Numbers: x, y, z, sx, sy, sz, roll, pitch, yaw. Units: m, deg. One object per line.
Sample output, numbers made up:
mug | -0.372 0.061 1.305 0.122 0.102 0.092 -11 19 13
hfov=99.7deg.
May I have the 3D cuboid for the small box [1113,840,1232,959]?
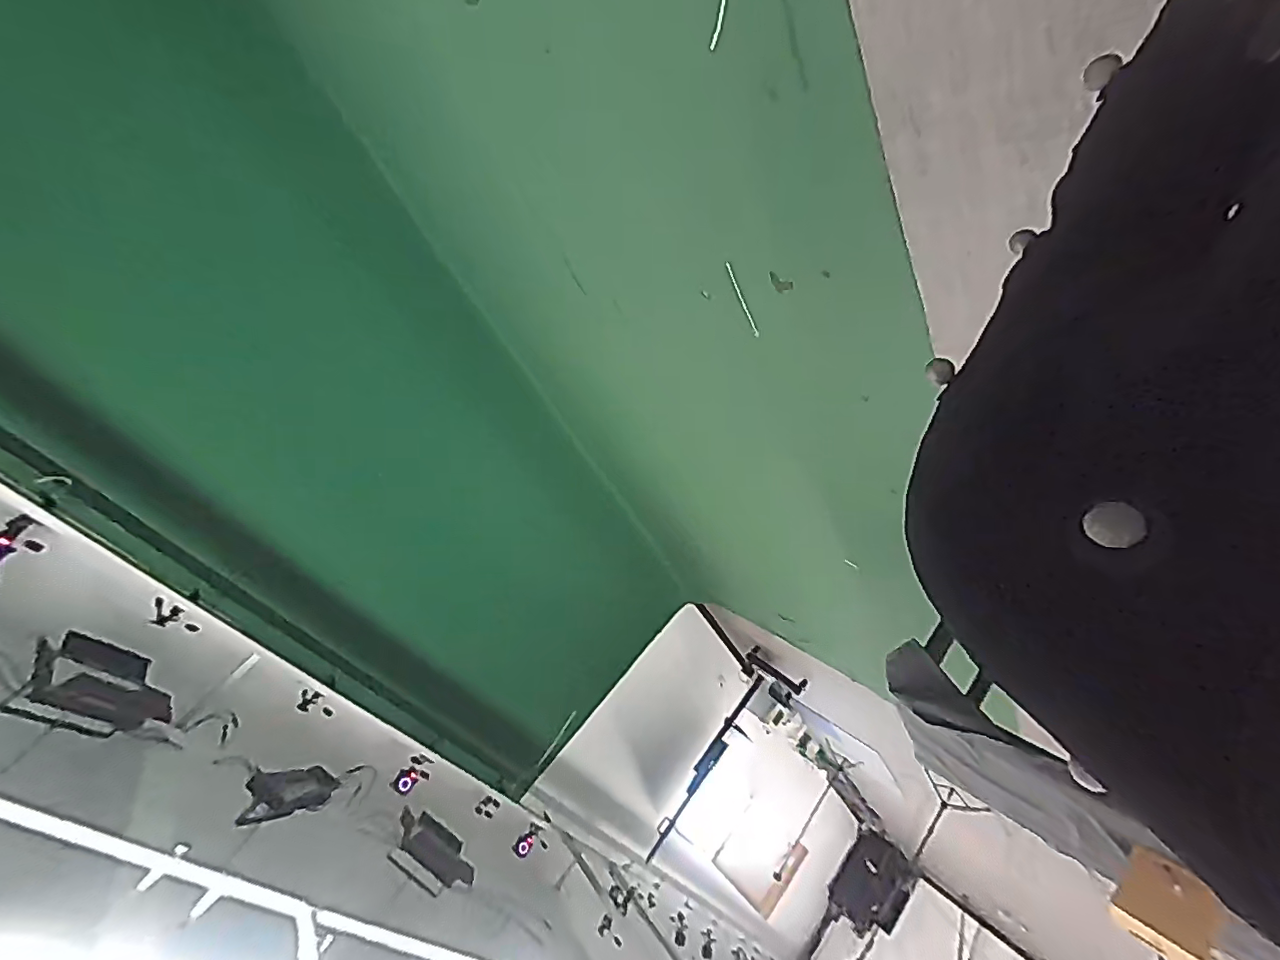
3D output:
small box | 1.262 1.011 1.287 0.168 0.176 0.179 19 149 52
